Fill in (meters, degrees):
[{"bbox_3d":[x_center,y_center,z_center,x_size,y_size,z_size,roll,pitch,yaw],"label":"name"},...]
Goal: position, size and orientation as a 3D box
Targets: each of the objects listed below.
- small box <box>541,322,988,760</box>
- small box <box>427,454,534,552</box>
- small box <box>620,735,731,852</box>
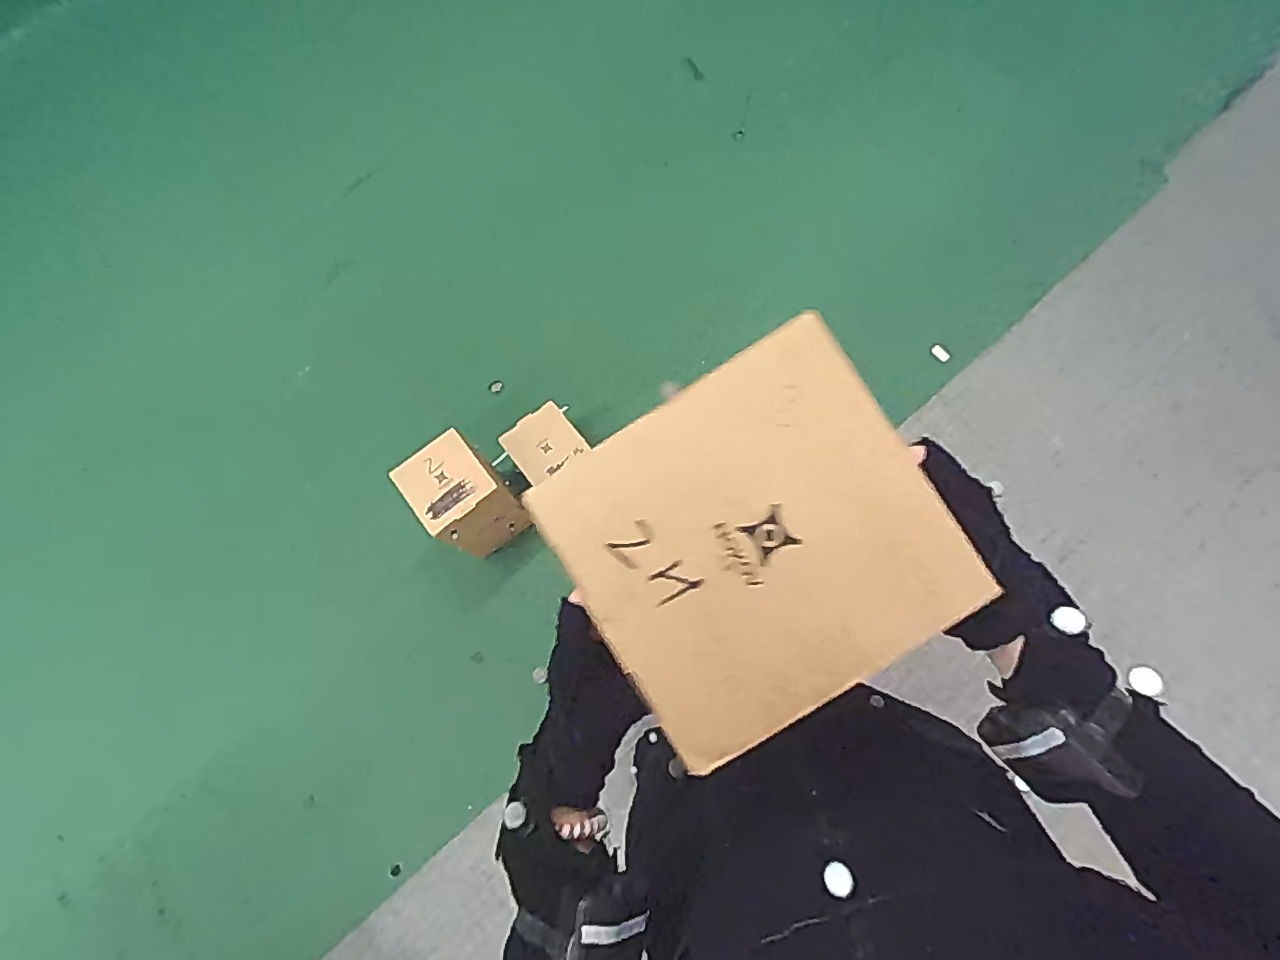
[{"bbox_3d":[0.064,0.031,0.354,0.179,0.176,0.168,-32,87,3],"label":"small box"},{"bbox_3d":[-0.390,0.067,1.359,0.168,0.176,0.179,-36,76,-6],"label":"small box"},{"bbox_3d":[0.075,0.672,1.180,0.179,0.176,0.168,14,73,31],"label":"small box"}]
